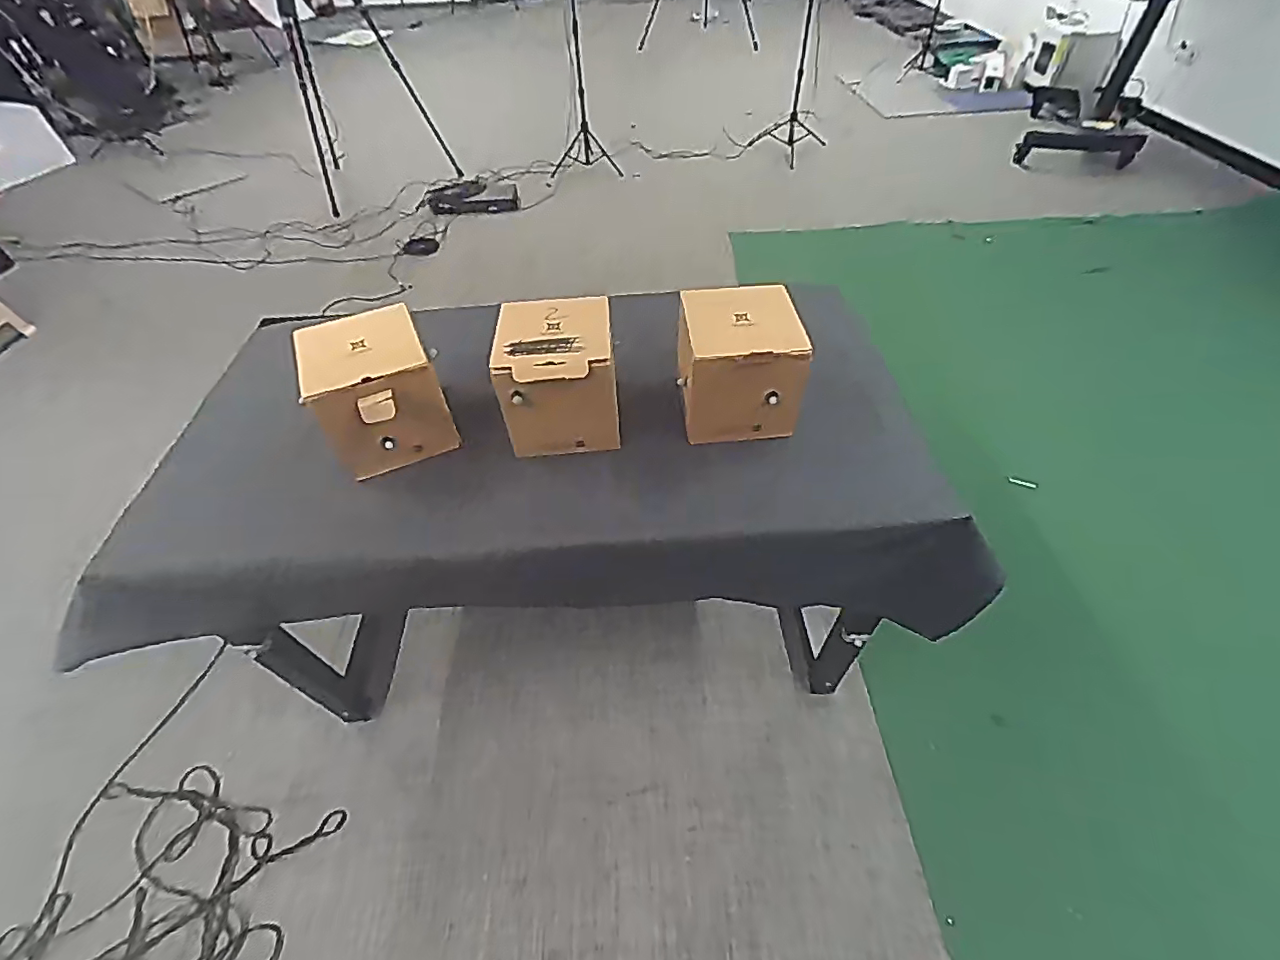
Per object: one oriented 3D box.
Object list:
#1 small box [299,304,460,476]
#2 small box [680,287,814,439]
[{"bbox_3d":[-0.395,-0.138,0.831,0.168,0.176,0.179,-21,52,-16],"label":"small box"},{"bbox_3d":[0.153,-0.176,0.841,0.168,0.176,0.179,-4,48,-2],"label":"small box"}]
